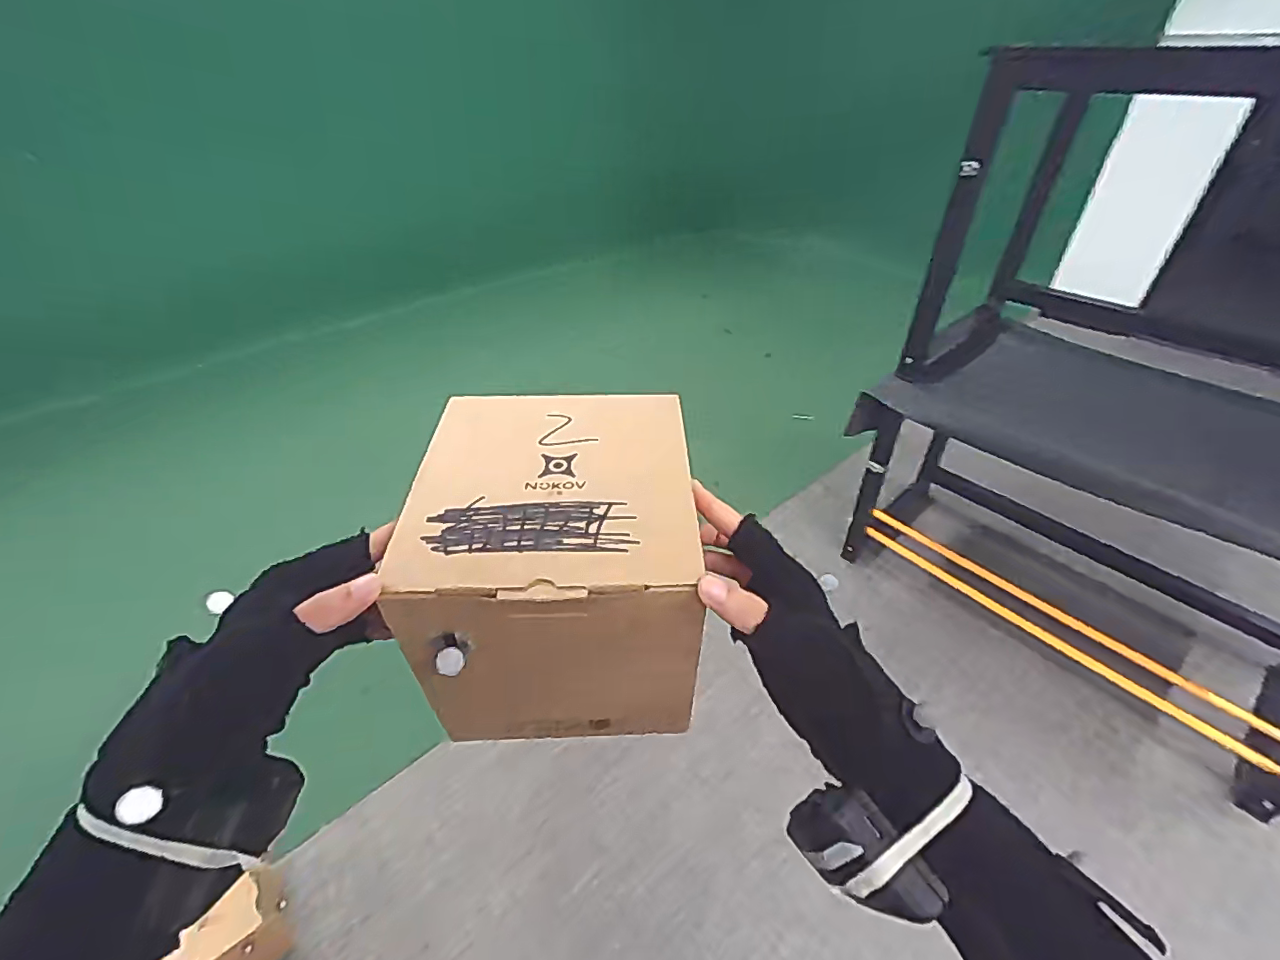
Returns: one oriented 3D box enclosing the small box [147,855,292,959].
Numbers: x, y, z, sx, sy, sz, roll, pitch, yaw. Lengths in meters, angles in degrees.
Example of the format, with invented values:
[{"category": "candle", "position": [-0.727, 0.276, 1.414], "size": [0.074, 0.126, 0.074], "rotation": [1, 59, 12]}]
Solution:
[{"category": "small box", "position": [-0.869, 0.944, 1.125], "size": [0.179, 0.176, 0.168], "rotation": [-29, 46, -30]}]
